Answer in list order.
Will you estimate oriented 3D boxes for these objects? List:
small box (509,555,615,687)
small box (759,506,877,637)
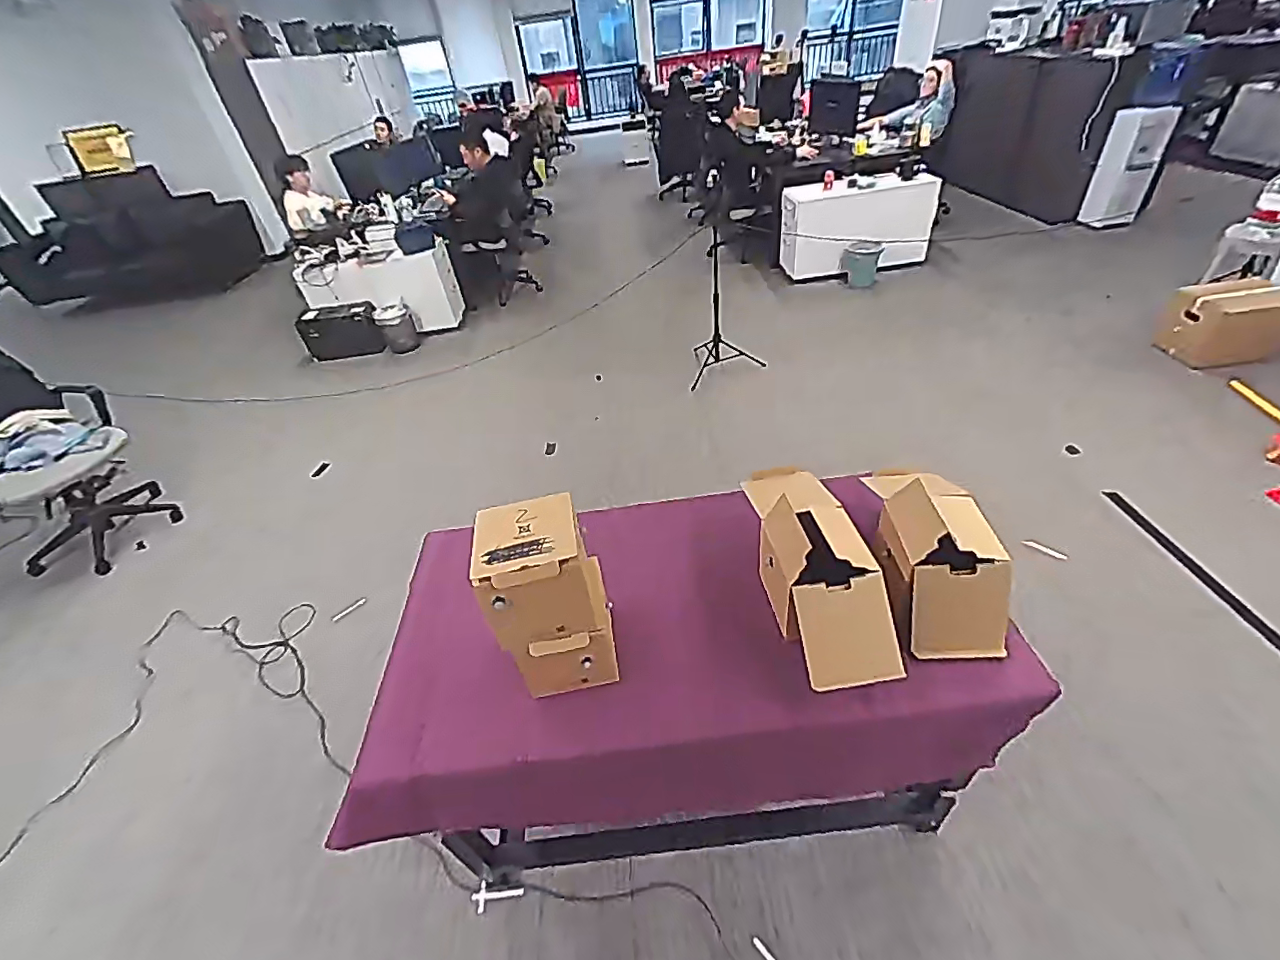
[{"bbox_3d":[-0.144,0.272,1.029,0.168,0.176,0.179,-9,40,-2],"label":"small box"},{"bbox_3d":[0.335,0.178,1.055,0.168,0.176,0.179,-9,40,0],"label":"small box"}]
